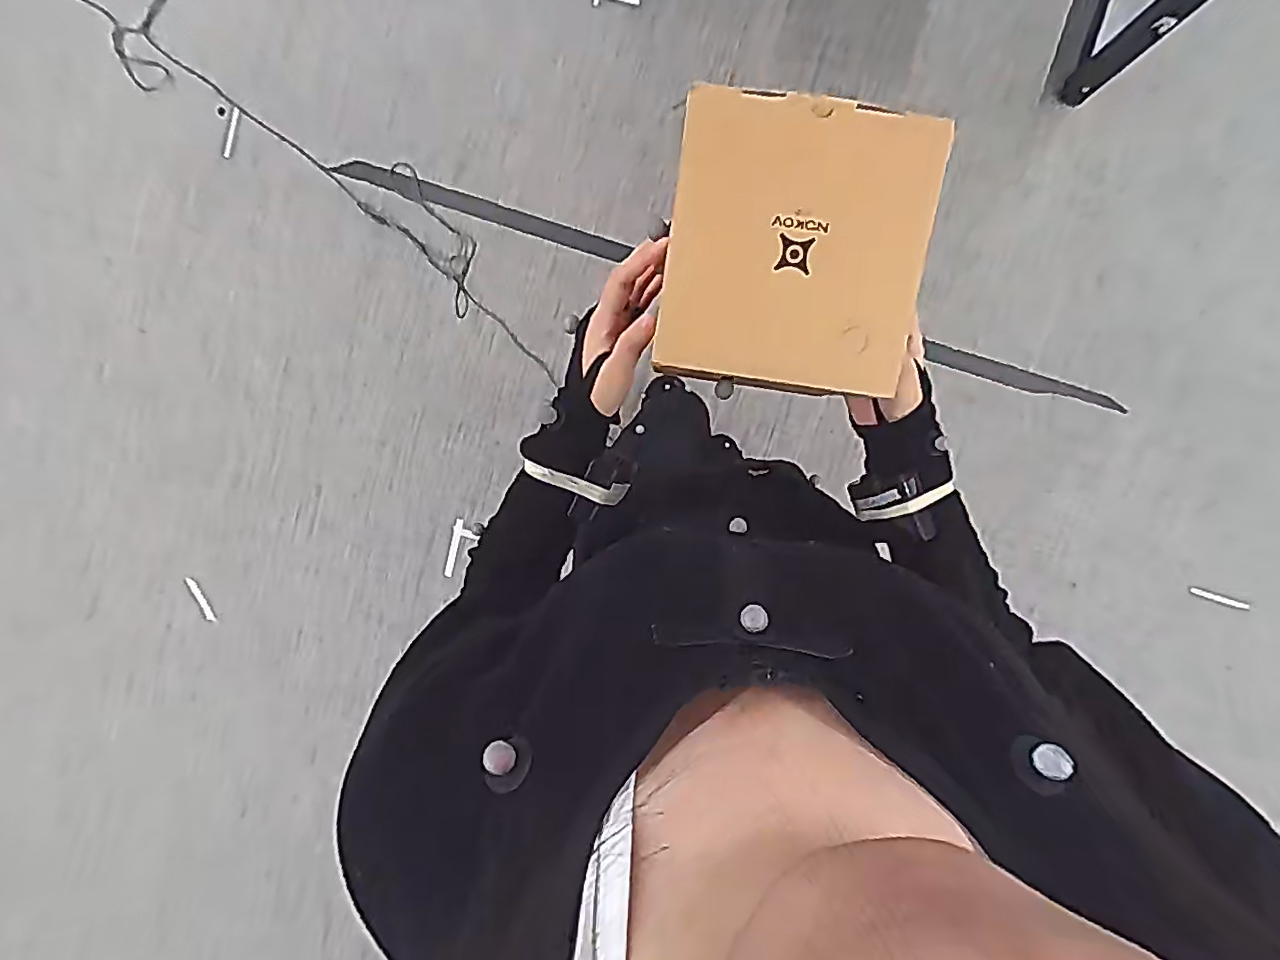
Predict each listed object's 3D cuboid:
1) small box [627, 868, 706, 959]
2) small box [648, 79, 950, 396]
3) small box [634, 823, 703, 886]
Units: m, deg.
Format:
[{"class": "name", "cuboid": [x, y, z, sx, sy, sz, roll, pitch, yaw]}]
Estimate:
[{"class": "small box", "cuboid": [0.066, 1.117, 1.356, 0.179, 0.176, 0.168, 6, 95, 3]}, {"class": "small box", "cuboid": [0.102, -0.164, 0.425, 0.168, 0.176, 0.179, 8, 98, 1]}, {"class": "small box", "cuboid": [0.077, 1.101, 1.518, 0.179, 0.176, 0.168, 5, 95, 1]}]
